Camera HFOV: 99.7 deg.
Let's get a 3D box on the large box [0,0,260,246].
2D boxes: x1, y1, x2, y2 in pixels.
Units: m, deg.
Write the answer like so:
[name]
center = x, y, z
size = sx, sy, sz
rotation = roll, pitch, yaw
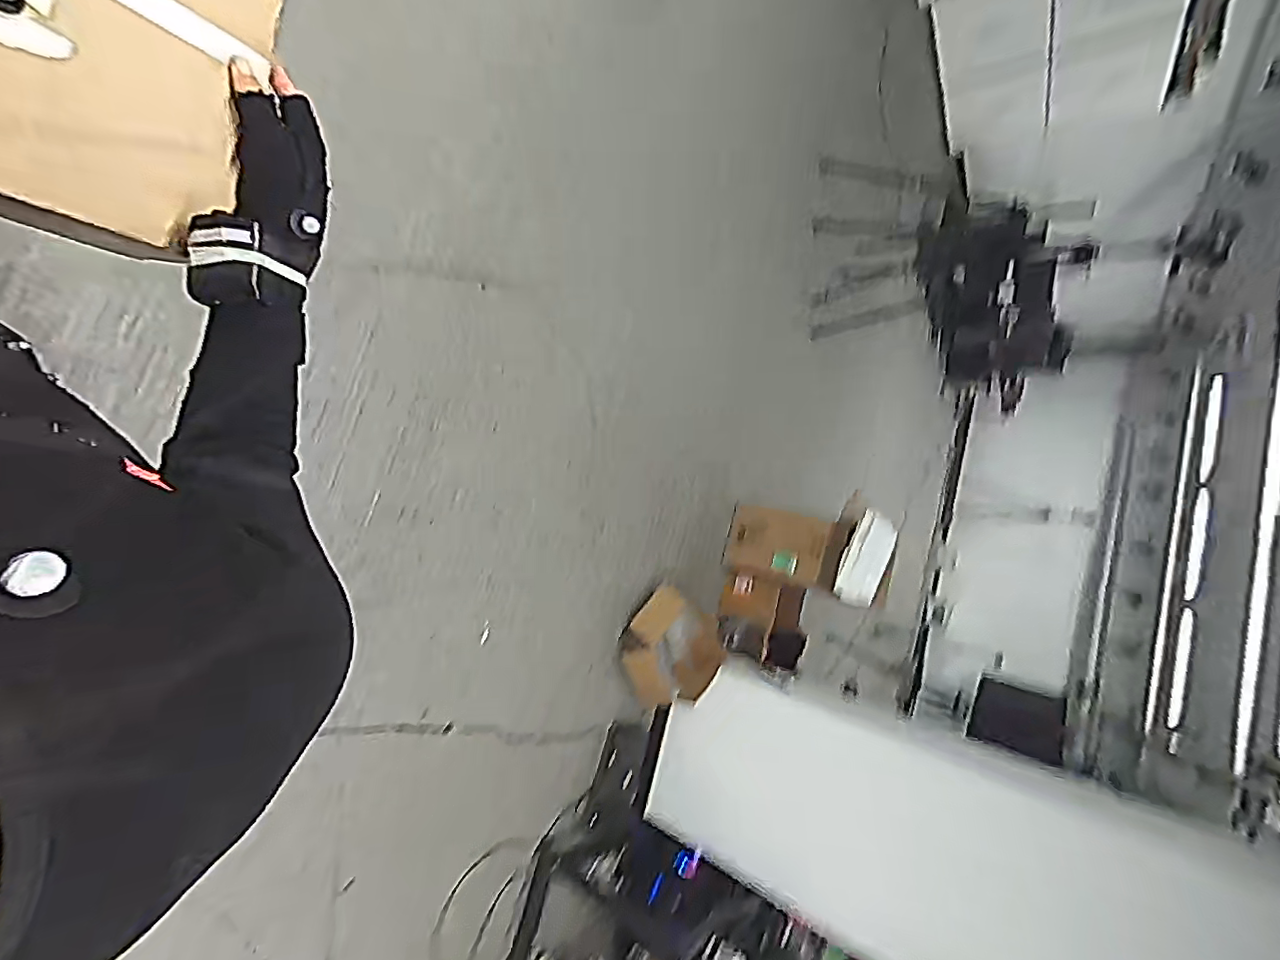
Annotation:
[large box]
center = -0.545, -0.385, 0.355
size = 0.408, 0.320, 0.320
rotation = 6, 101, -55
